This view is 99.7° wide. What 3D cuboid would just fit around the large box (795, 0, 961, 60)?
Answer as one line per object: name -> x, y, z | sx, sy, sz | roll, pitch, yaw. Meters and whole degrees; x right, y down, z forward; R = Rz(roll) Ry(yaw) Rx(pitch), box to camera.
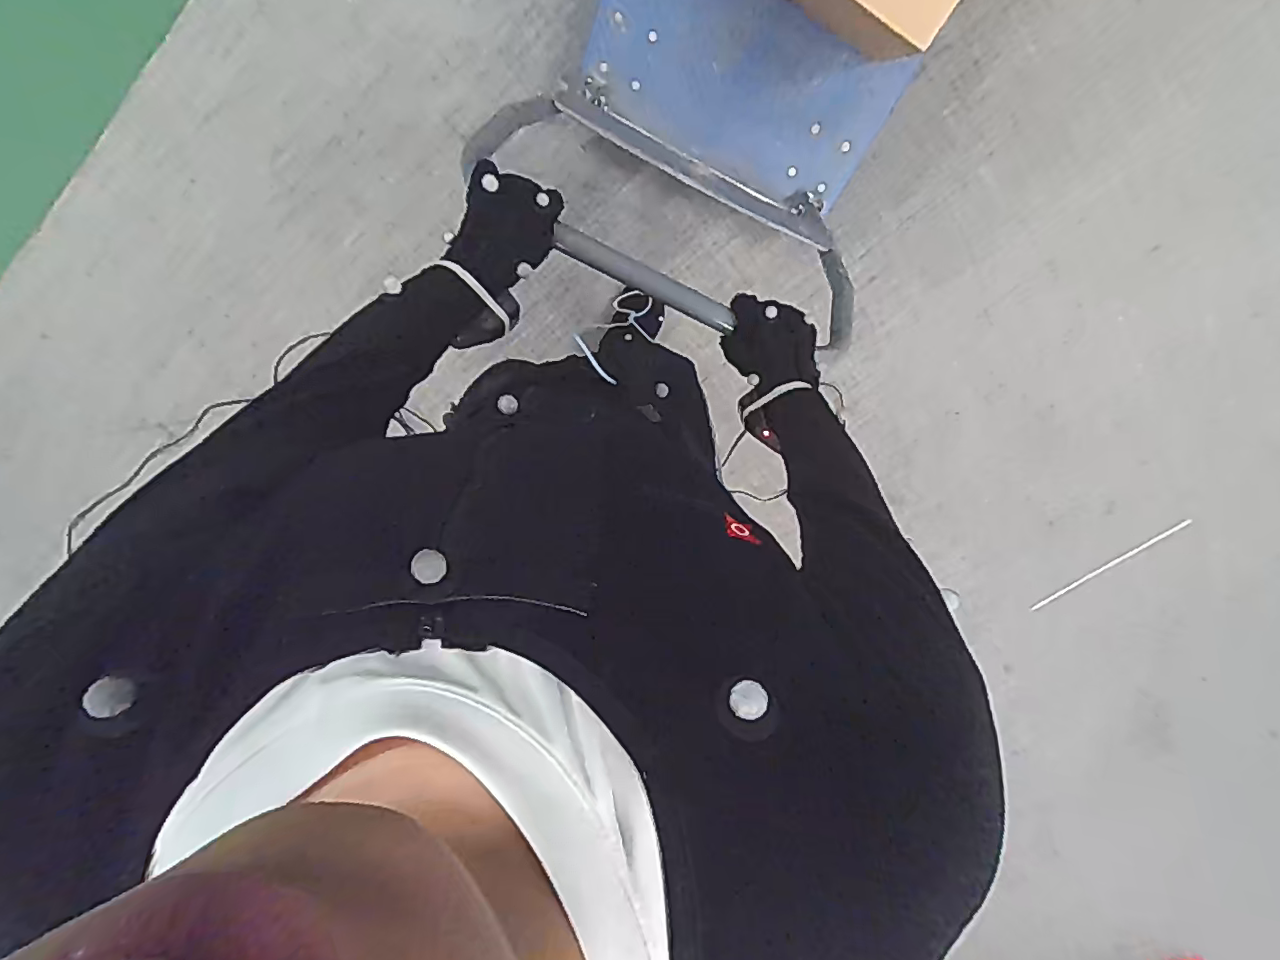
large box -> 0.313, -0.864, 0.748 | 0.408, 0.320, 0.320 | 29, 125, -10
